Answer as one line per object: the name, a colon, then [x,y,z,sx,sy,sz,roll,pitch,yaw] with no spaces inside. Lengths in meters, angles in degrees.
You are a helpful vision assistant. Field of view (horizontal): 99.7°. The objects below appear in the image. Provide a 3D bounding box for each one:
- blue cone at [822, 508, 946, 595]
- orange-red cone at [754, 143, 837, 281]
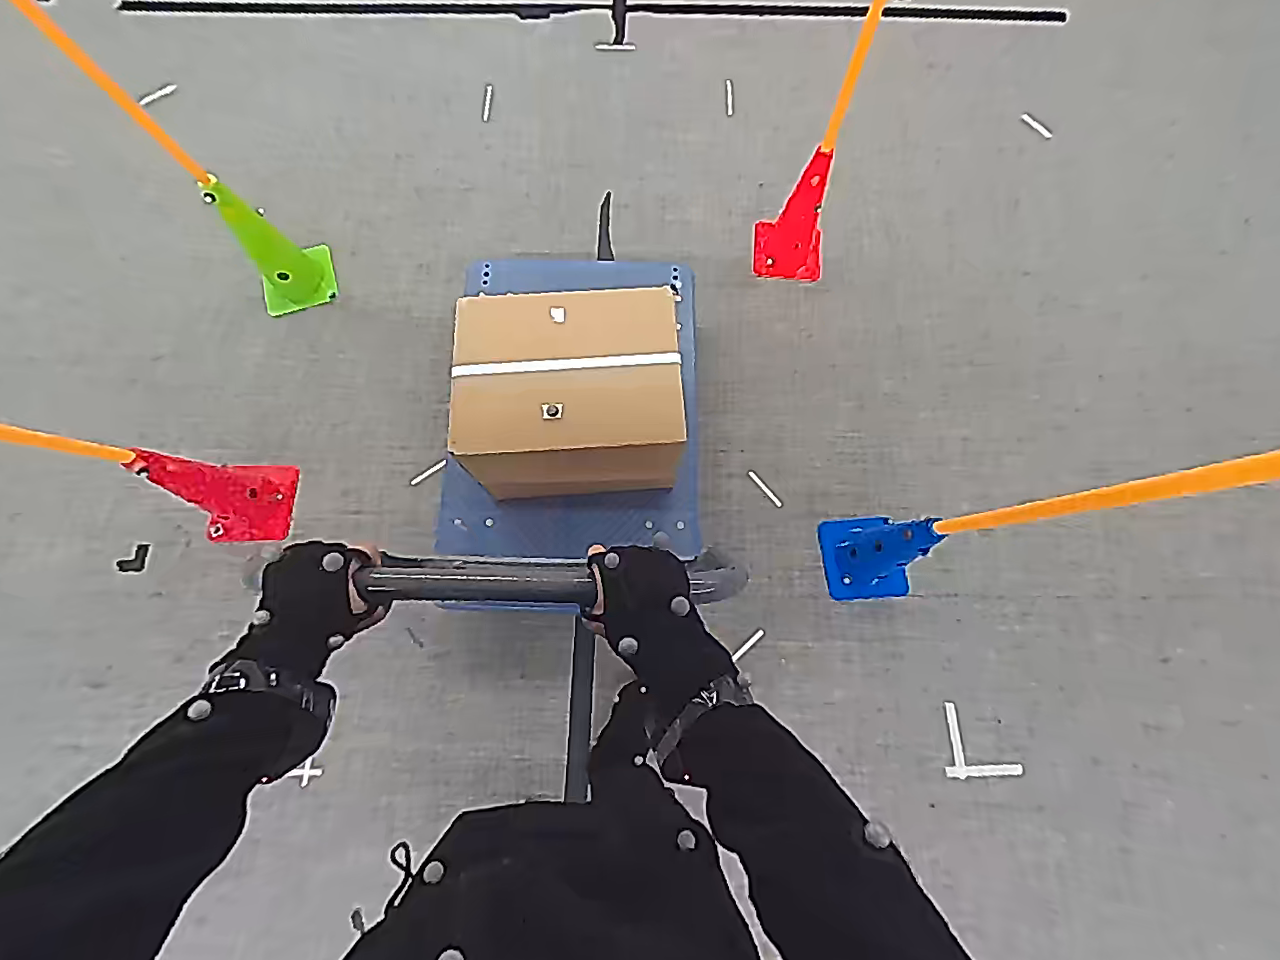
blue cone: [0.562,0.136,1.194,0.193,0.380,0.192,-3,72,-2]
orange-red cone: [0.447,-0.733,1.442,0.199,0.360,0.198,7,74,1]
